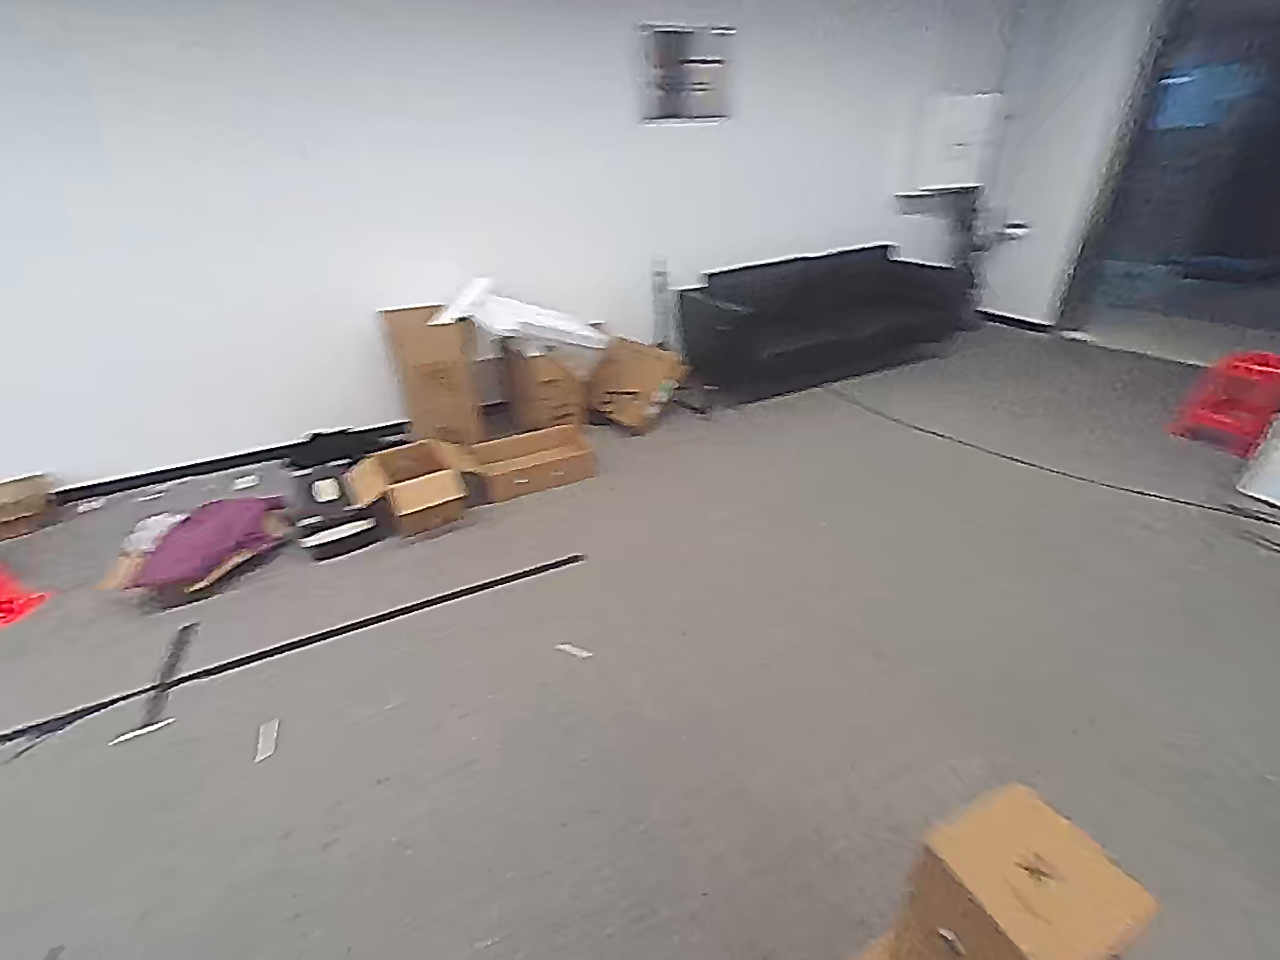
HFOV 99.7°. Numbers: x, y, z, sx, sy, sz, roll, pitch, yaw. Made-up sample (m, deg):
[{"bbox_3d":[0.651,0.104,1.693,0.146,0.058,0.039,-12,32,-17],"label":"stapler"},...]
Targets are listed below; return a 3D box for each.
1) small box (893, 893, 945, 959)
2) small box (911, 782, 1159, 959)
[{"bbox_3d":[0.482,0.669,0.753,0.179,0.176,0.168,-16,30,-18],"label":"small box"},{"bbox_3d":[0.470,0.529,0.672,0.179,0.176,0.168,-16,30,-18],"label":"small box"}]
